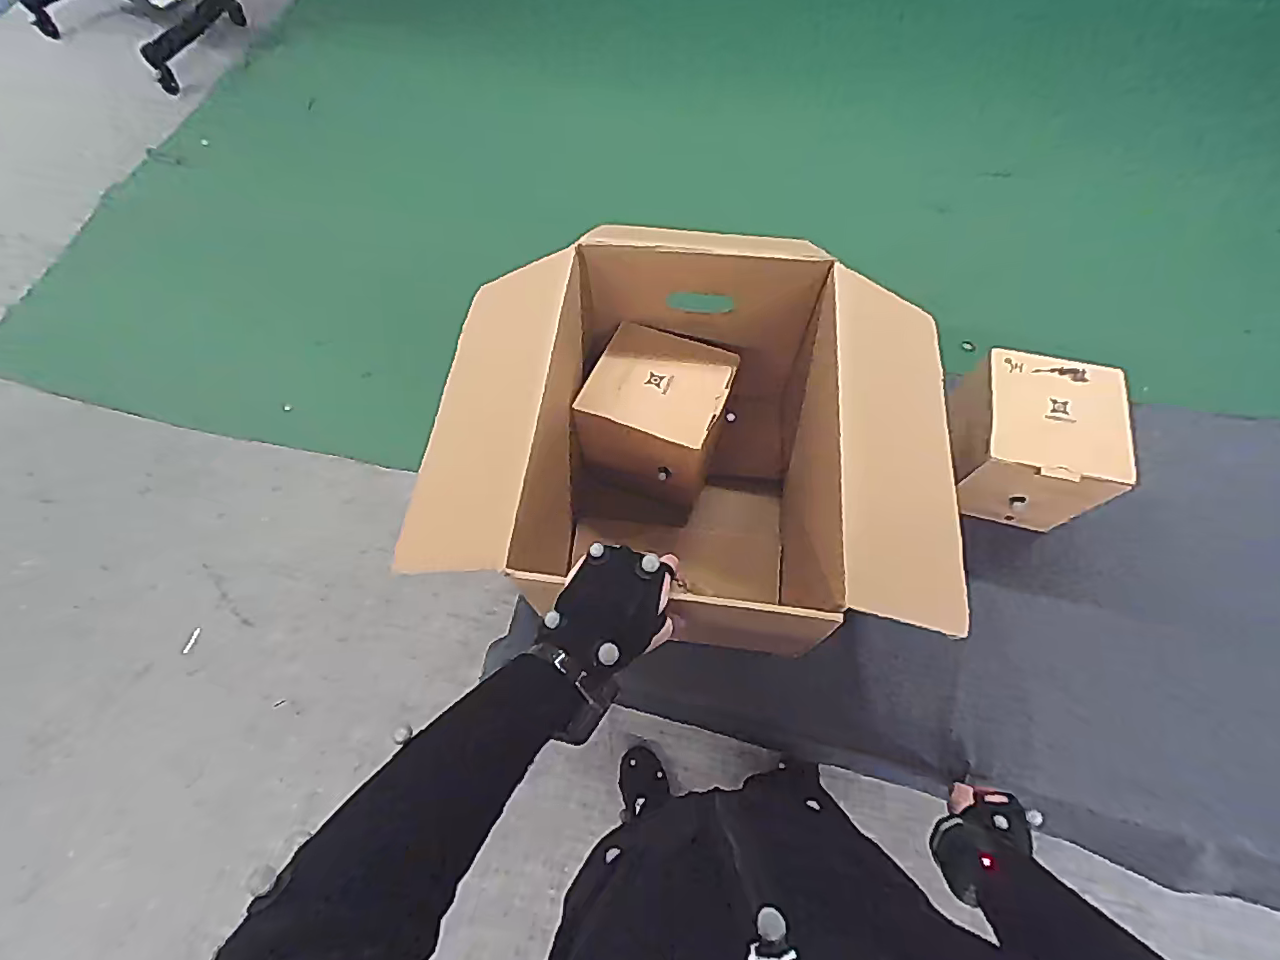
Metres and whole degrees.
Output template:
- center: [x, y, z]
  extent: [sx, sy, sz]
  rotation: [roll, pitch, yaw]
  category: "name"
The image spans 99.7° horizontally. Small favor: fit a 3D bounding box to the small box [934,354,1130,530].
- center: [0.542, -0.046, 0.768]
  extent: [0.168, 0.176, 0.179]
  rotation: [14, 68, 8]
  category: "small box"
